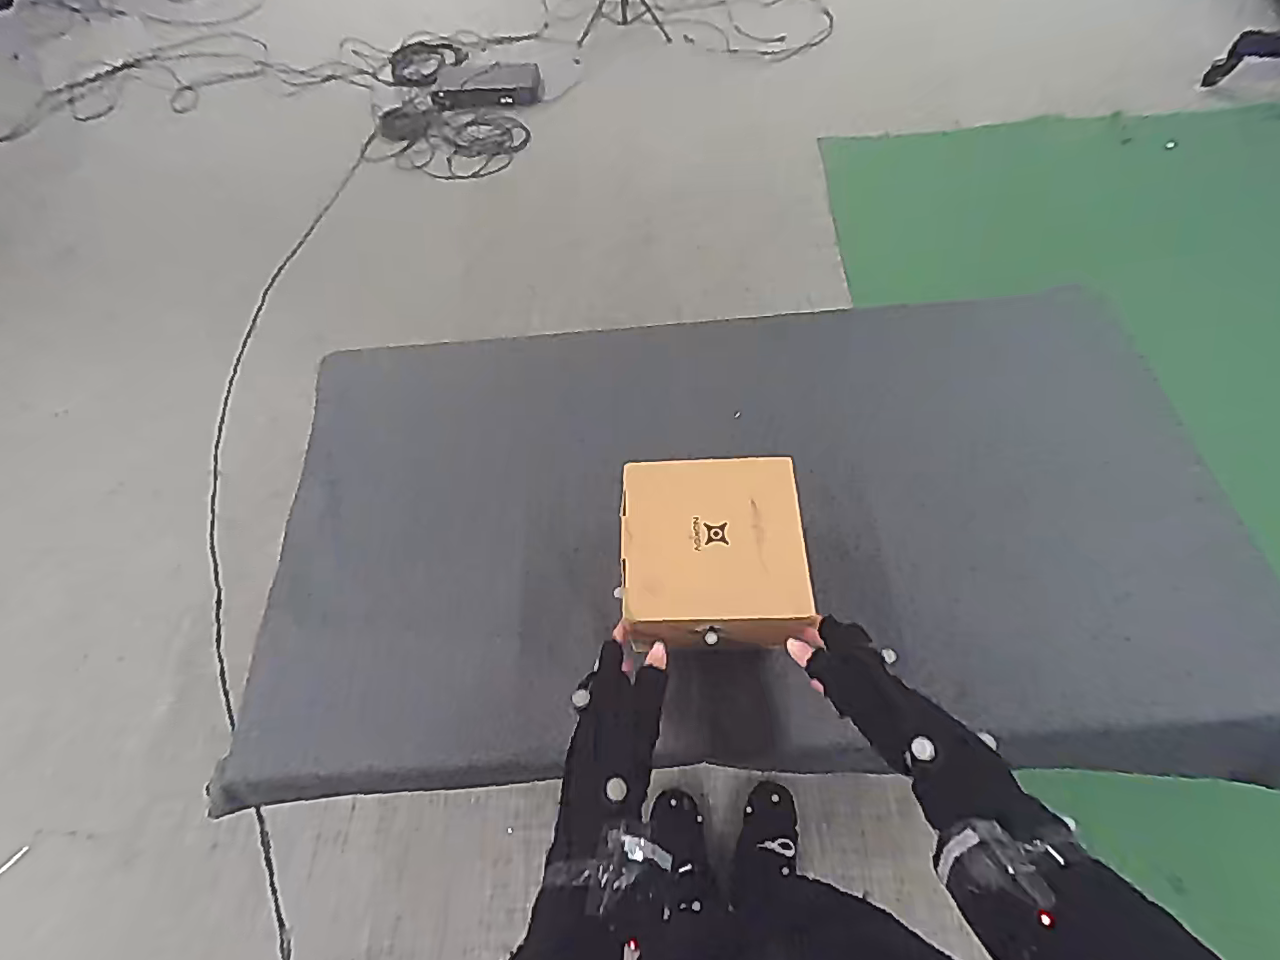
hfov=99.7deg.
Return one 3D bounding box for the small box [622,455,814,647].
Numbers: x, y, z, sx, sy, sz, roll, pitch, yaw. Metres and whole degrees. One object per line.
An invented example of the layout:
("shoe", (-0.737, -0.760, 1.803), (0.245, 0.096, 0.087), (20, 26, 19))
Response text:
("small box", (0.077, 0.087, 0.598), (0.179, 0.176, 0.168), (-3, 64, 3))
